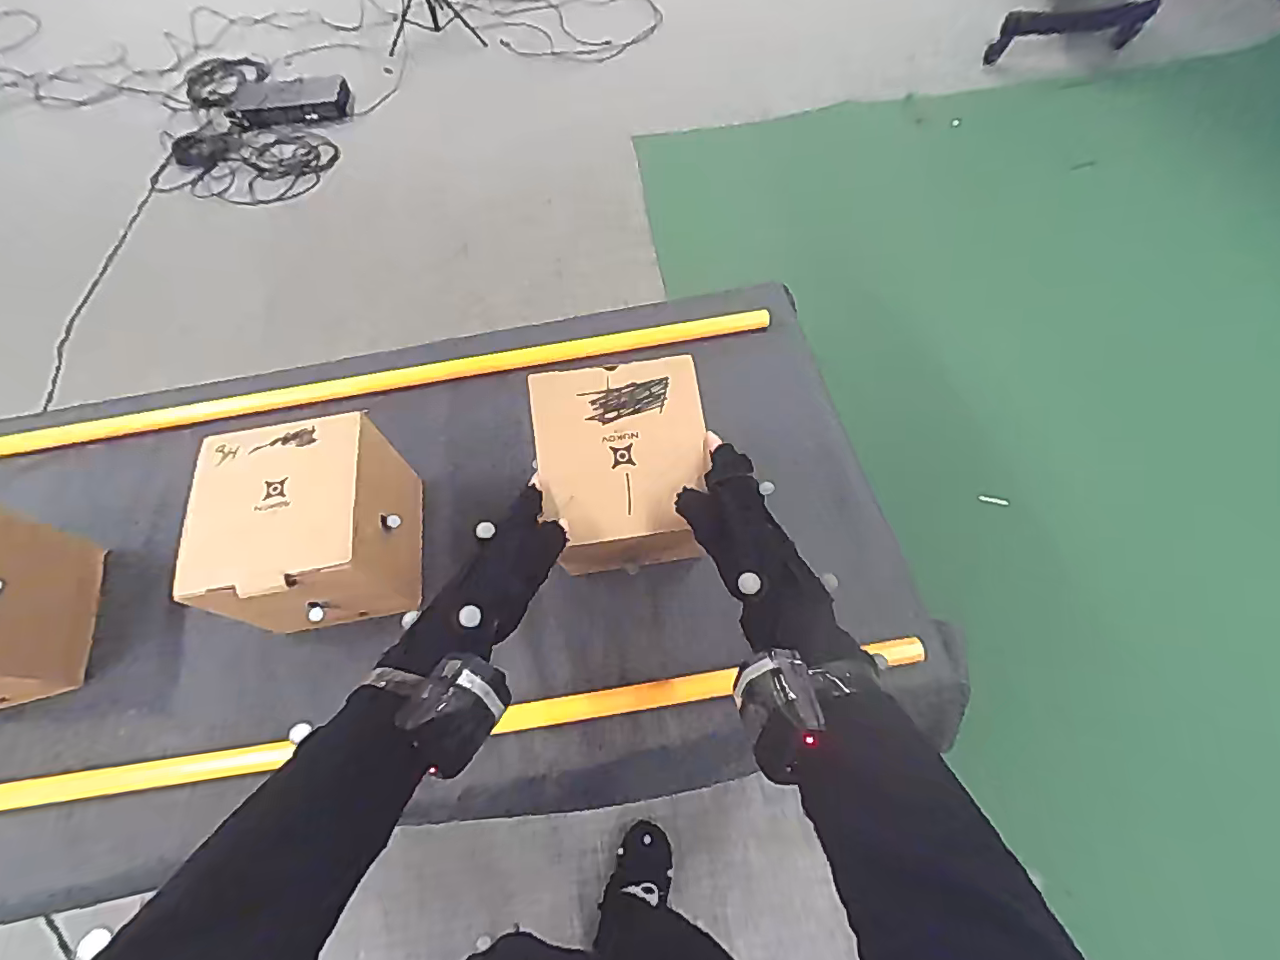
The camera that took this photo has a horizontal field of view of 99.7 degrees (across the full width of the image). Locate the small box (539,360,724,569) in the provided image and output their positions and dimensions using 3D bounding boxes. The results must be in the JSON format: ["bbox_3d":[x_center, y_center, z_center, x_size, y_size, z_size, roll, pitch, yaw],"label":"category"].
[{"bbox_3d":[-0.013,-0.008,0.603,0.168,0.176,0.179,-8,72,-2],"label":"small box"}]

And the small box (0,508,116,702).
[{"bbox_3d":[-0.727,0.144,0.581,0.168,0.176,0.179,-14,63,-6],"label":"small box"}]

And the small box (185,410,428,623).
[{"bbox_3d":[-0.354,0.053,0.609,0.168,0.176,0.179,-13,63,-2],"label":"small box"}]
